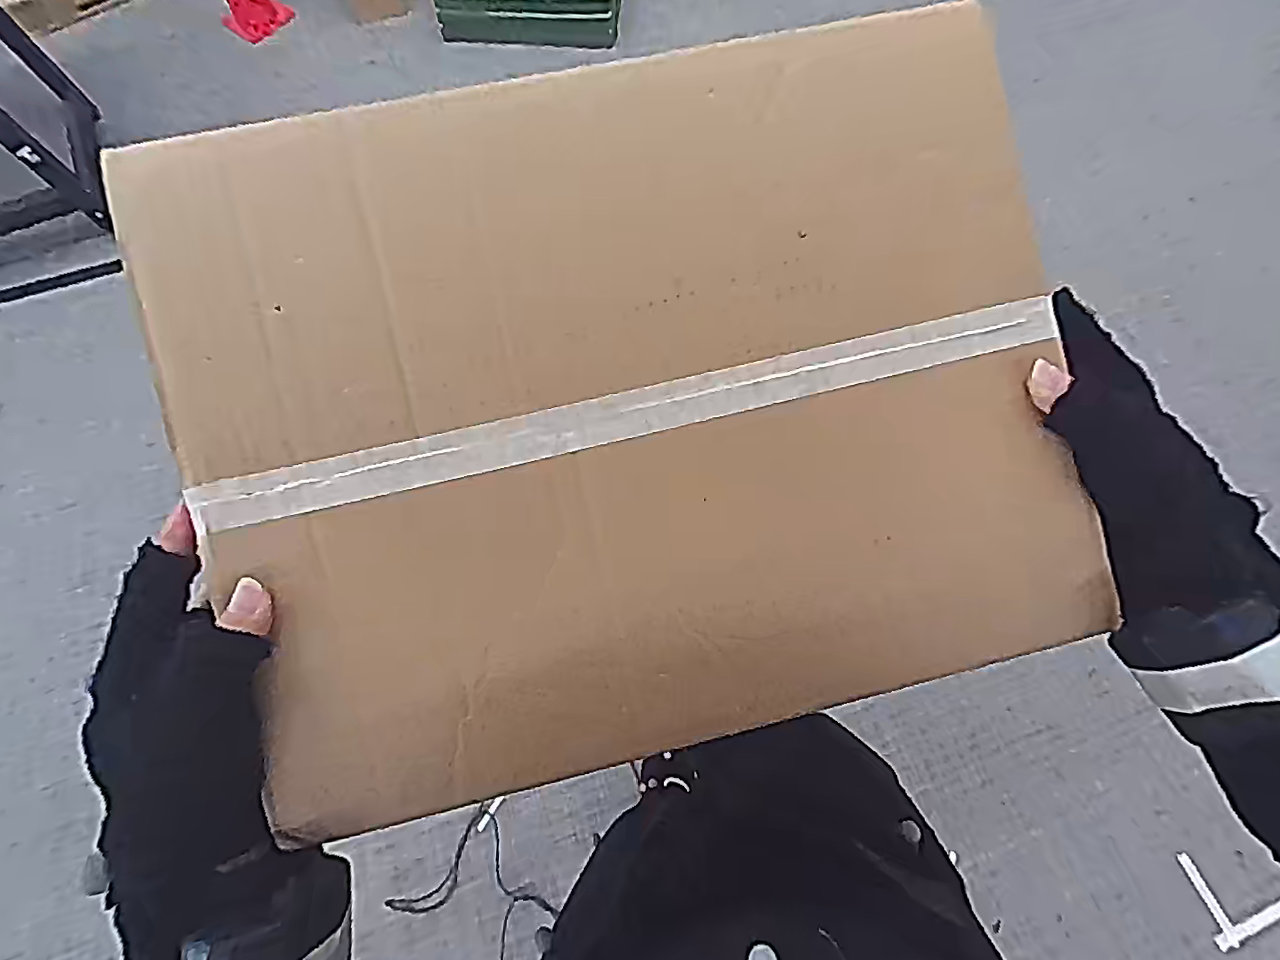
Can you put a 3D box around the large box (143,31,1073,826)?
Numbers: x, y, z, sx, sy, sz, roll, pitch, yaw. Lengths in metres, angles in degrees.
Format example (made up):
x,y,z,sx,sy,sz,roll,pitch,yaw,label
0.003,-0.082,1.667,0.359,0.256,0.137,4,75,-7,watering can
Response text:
x,y,z,sx,sy,sz,roll,pitch,yaw,label
-0.009,-0.034,0.409,0.408,0.320,0.320,-13,91,-4,large box
